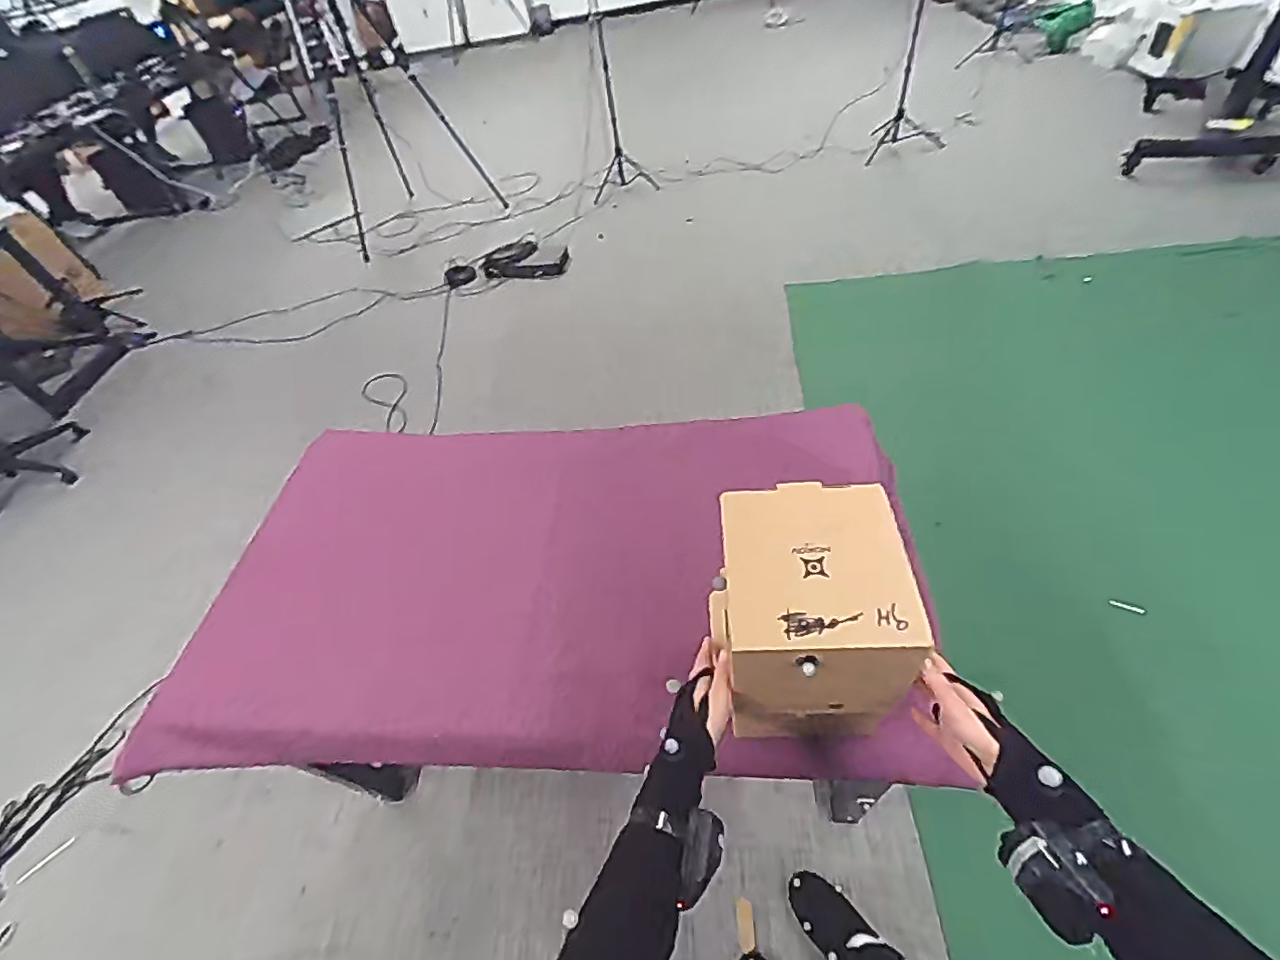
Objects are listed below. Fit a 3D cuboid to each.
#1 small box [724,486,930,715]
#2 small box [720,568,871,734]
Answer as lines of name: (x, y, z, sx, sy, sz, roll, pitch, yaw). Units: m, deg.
small box: (0.173, 0.127, 0.567, 0.168, 0.176, 0.179, -4, 49, 9)
small box: (0.200, 0.220, 0.701, 0.179, 0.176, 0.168, -4, 50, 7)
